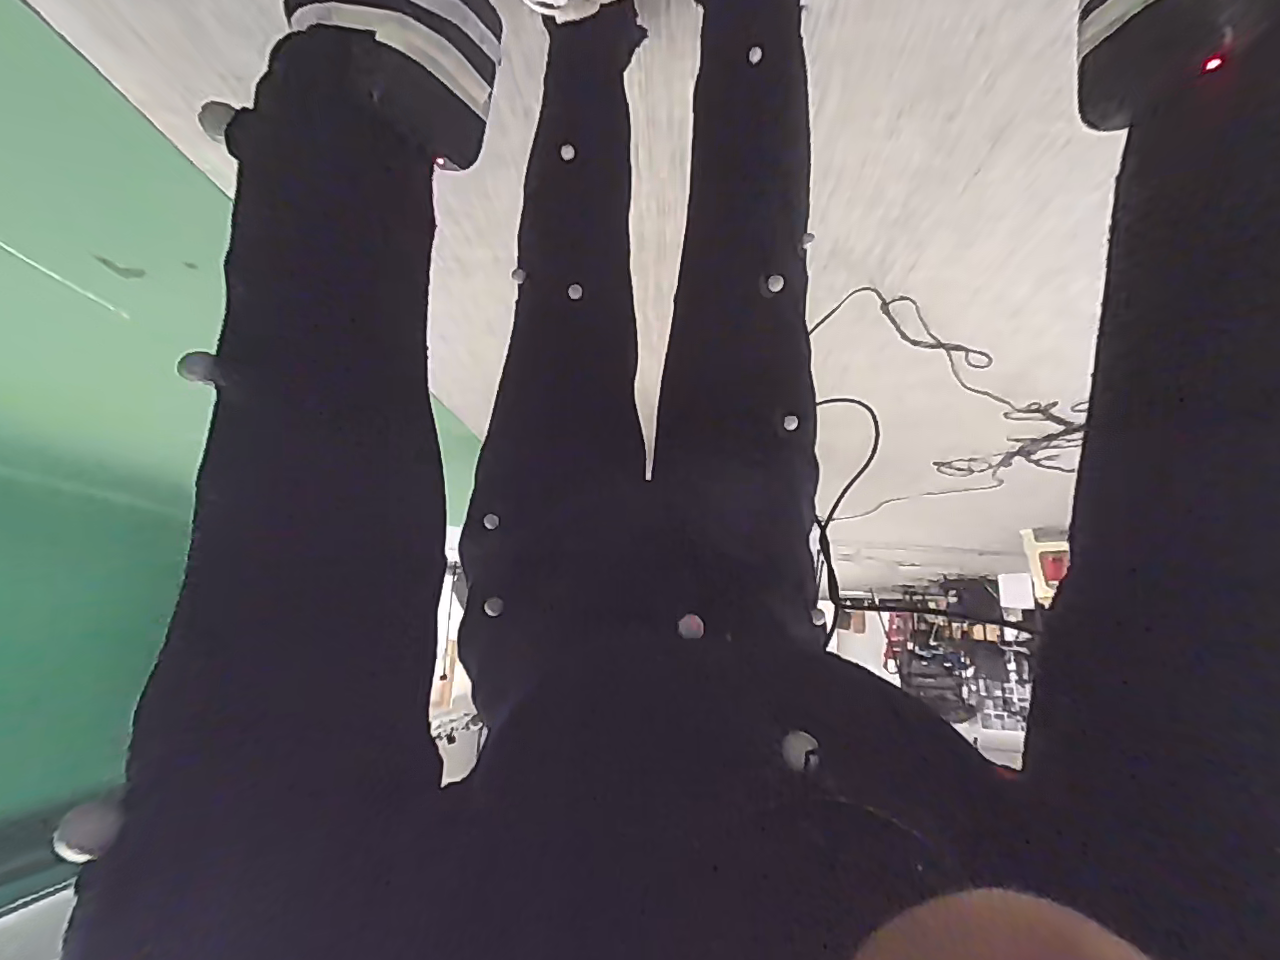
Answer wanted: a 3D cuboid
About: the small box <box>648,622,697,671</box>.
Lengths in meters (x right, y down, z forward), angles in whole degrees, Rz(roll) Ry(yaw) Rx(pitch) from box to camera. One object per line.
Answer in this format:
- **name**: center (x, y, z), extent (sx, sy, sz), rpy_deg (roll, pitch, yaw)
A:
- **small box**: center (0.133, 0.651, 2.123), extent (0.168, 0.176, 0.179), rpy_deg (-1, 164, 13)
